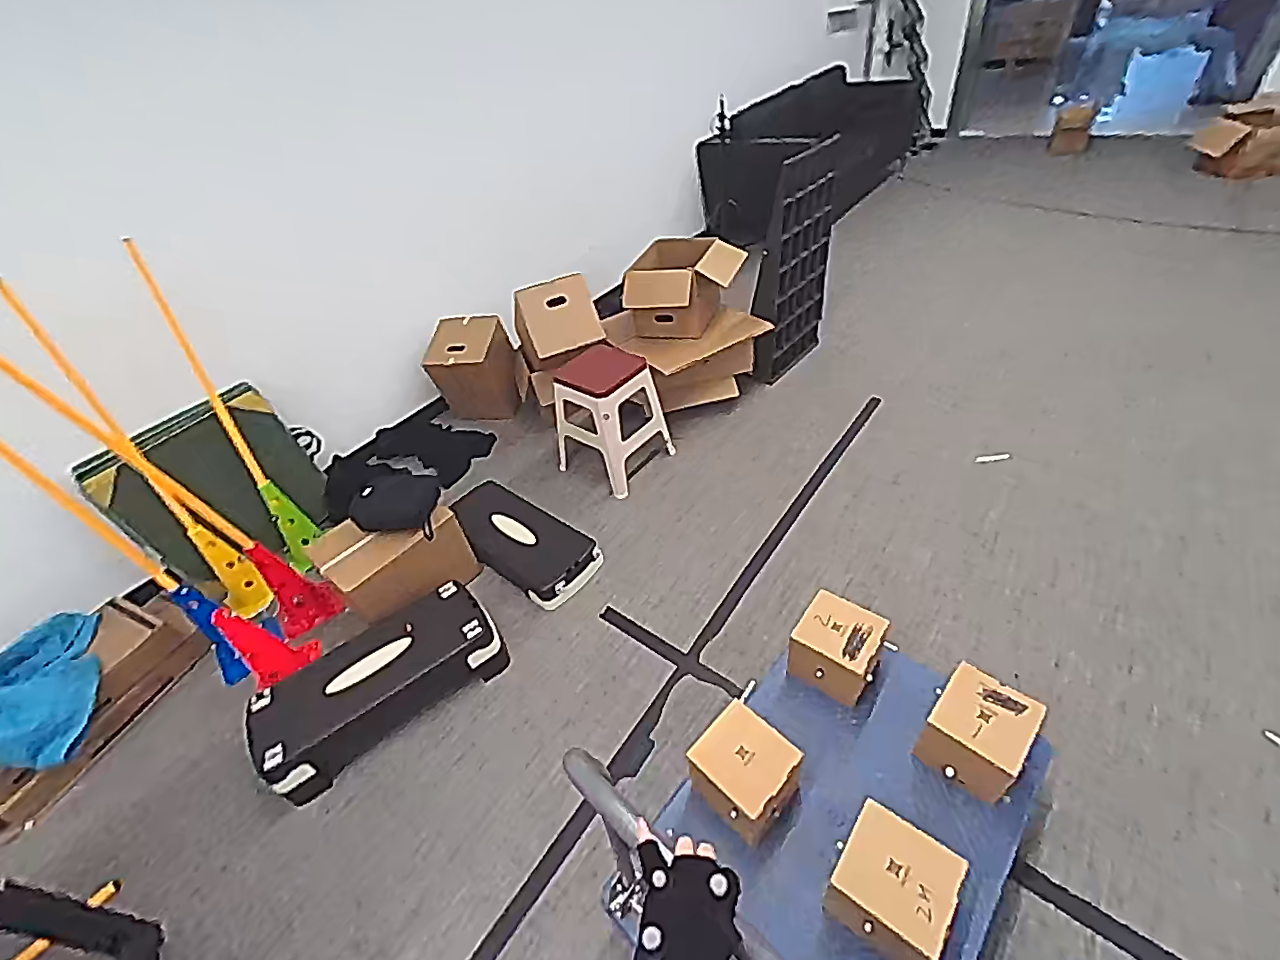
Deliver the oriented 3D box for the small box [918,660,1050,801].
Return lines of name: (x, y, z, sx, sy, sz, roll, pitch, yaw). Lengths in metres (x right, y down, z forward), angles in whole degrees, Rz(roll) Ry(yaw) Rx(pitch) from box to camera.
small box: (0.712, 0.526, 1.136, 0.168, 0.176, 0.179, 29, 56, 36)

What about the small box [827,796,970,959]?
small box: (0.453, 0.722, 0.969, 0.179, 0.176, 0.168, 24, 52, 33)

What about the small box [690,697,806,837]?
small box: (0.225, 0.609, 1.144, 0.168, 0.176, 0.179, -37, 49, -27)
